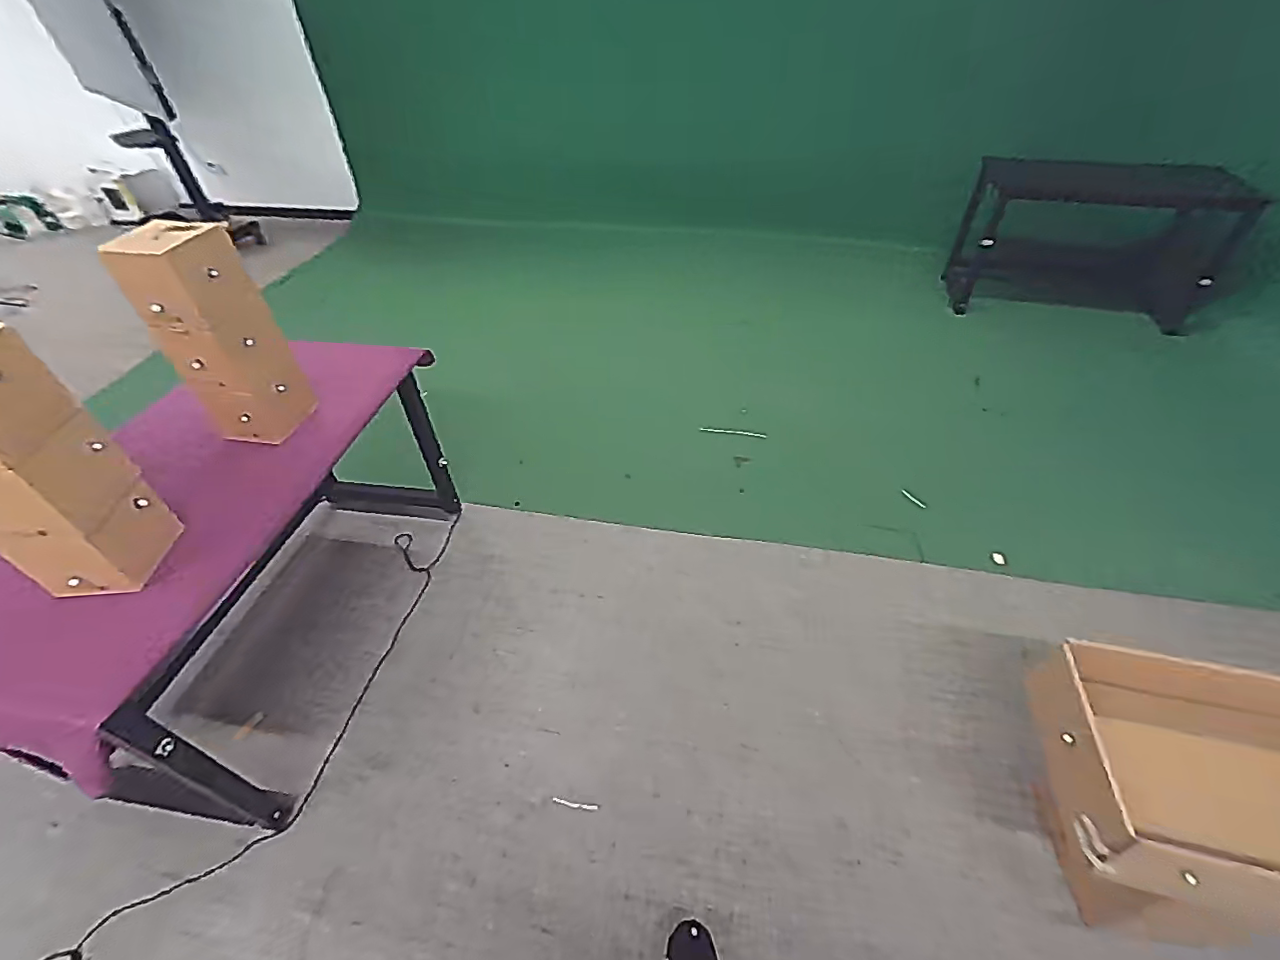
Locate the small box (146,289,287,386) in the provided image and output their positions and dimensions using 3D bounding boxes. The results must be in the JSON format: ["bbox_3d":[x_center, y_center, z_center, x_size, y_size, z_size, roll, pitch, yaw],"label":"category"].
[{"bbox_3d":[-0.999,-0.344,1.297,0.168,0.176,0.179,7,46,7],"label":"small box"}]

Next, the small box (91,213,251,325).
[{"bbox_3d":[-1.003,-0.462,1.182,0.168,0.176,0.179,6,46,7],"label":"small box"}]

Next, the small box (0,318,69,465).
[{"bbox_3d":[-1.080,-0.136,0.852,0.168,0.176,0.179,-4,44,-4],"label":"small box"}]

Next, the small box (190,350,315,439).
[{"bbox_3d":[-0.995,-0.228,1.412,0.168,0.176,0.179,8,45,9],"label":"small box"}]

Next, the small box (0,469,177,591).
[{"bbox_3d":[-1.085,0.099,1.078,0.168,0.176,0.179,-3,45,-2],"label":"small box"}]
